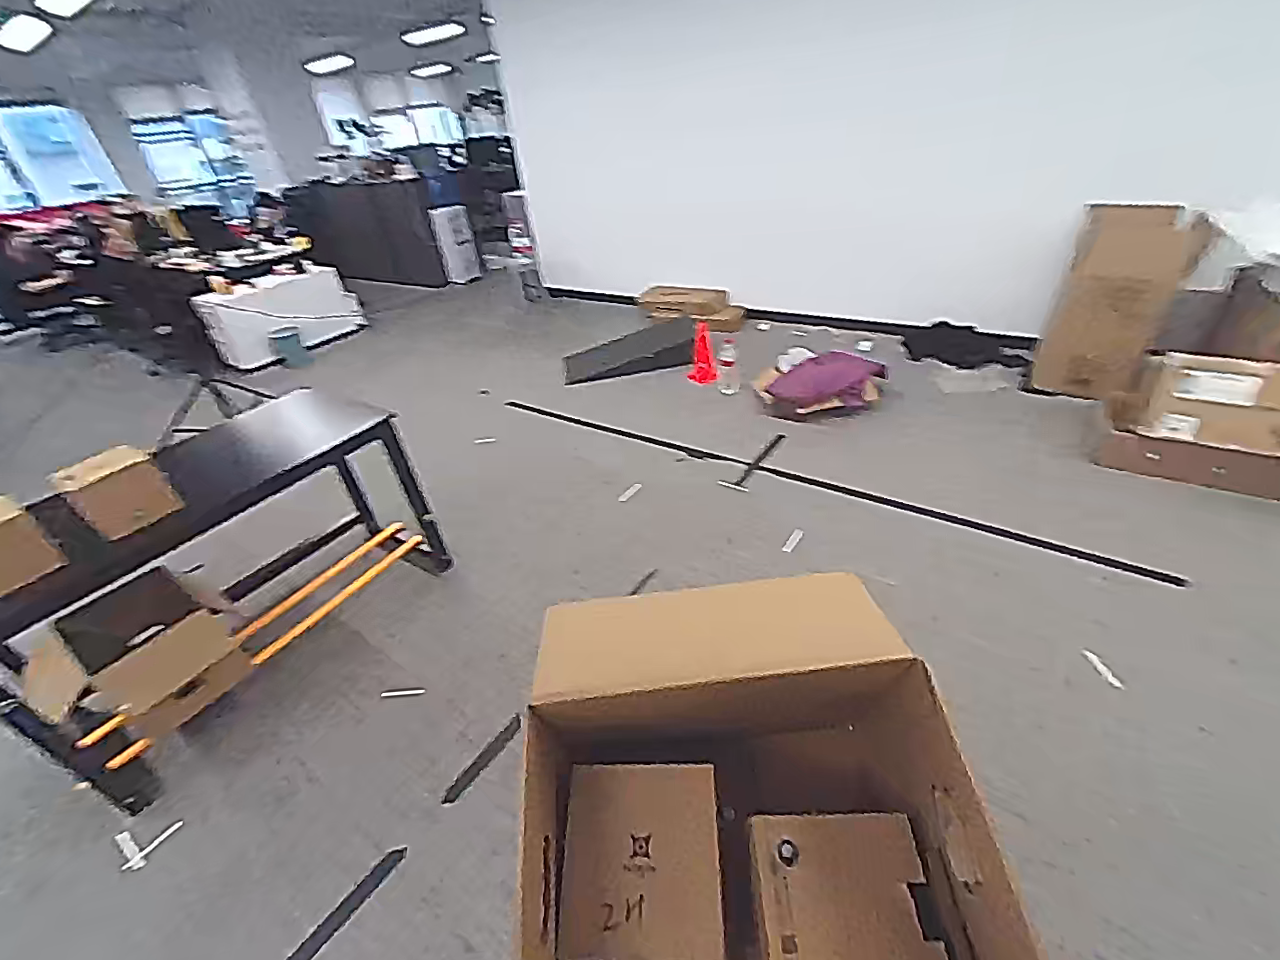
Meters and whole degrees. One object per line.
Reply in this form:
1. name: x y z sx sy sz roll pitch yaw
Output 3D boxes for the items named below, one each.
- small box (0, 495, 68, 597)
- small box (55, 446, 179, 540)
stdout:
1. small box: -1.562 0.169 1.307 0.168 0.176 0.179 19 41 31
2. small box: -1.409 0.033 1.473 0.168 0.176 0.179 16 40 31
